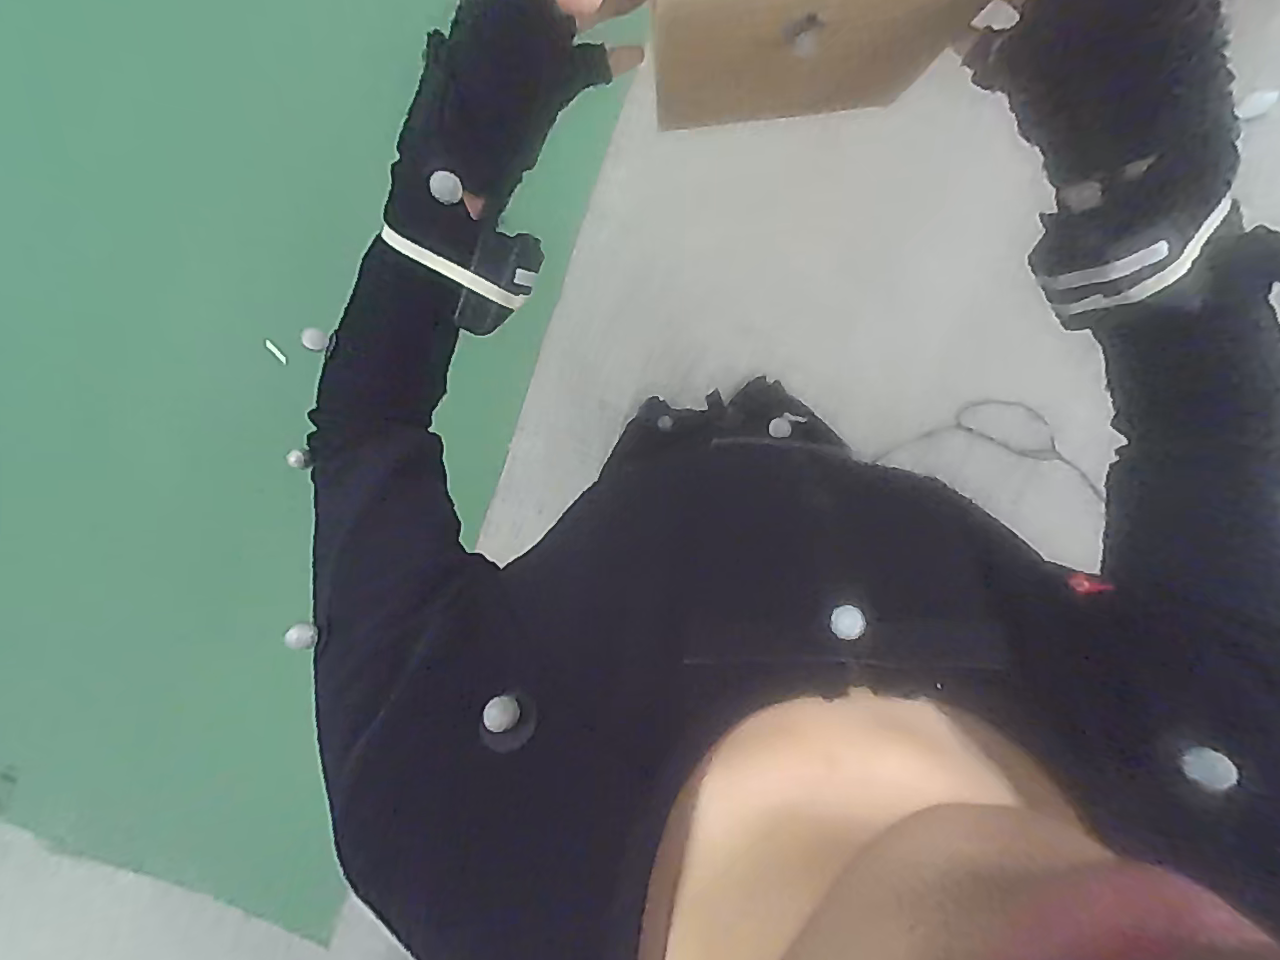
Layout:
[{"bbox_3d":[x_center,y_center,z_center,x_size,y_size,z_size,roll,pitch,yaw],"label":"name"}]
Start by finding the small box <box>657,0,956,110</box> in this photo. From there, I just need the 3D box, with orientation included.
[{"bbox_3d":[0.095,-0.341,0.311,0.179,0.176,0.168,-4,105,2],"label":"small box"}]
